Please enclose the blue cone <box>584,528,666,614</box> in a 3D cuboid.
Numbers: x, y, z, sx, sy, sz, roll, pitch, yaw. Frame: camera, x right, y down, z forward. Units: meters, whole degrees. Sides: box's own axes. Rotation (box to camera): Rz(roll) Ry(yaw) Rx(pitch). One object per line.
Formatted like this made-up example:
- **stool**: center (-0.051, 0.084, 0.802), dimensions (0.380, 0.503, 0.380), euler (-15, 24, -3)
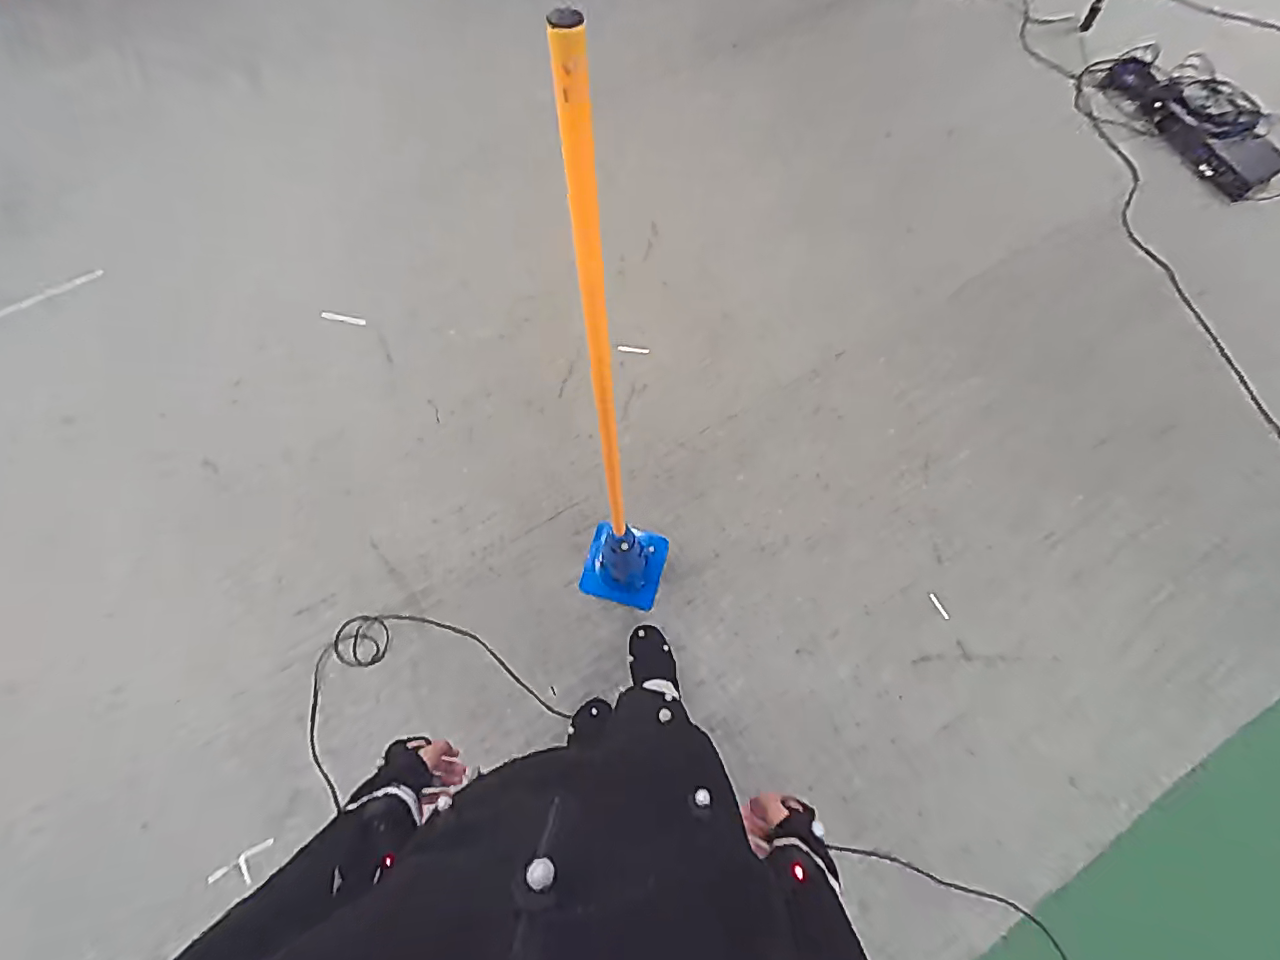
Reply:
- **blue cone**: center (-0.039, 0.175, 1.226), dimensions (0.192, 0.380, 0.193), euler (14, 70, 5)
